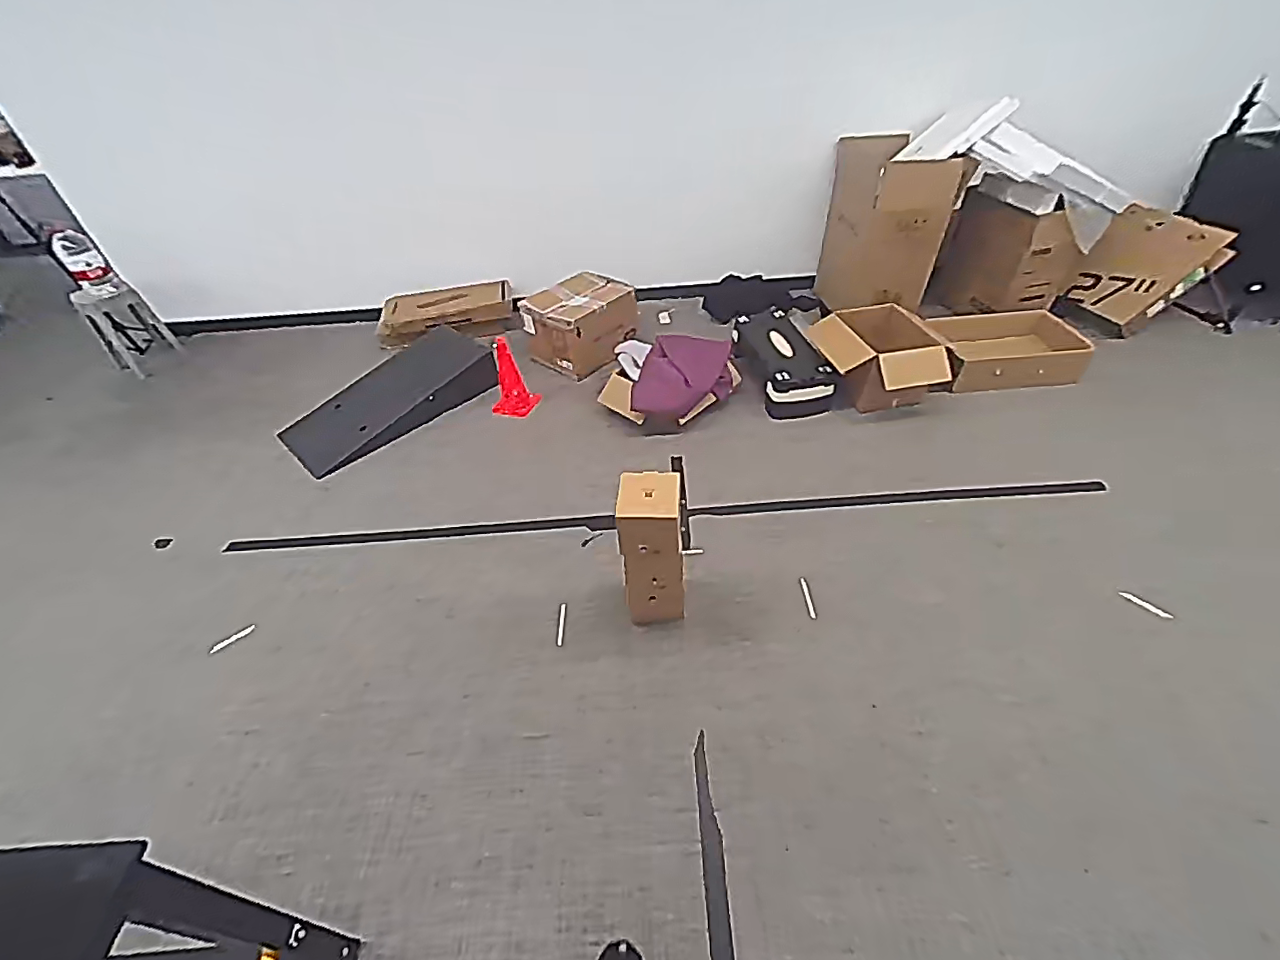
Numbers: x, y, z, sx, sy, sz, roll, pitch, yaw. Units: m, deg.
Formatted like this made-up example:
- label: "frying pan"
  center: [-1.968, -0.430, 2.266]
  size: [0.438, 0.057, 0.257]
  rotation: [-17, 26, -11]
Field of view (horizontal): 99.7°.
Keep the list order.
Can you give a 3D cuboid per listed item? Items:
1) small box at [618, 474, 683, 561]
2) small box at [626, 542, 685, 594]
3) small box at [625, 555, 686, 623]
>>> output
- label: "small box"
  center: [0.034, 0.102, 1.495]
  size: [0.168, 0.176, 0.179]
  rotation: [0, 44, 6]
- label: "small box"
  center: [0.045, 0.217, 1.609]
  size: [0.168, 0.176, 0.179]
  rotation: [-4, 43, 1]
- label: "small box"
  center: [0.049, 0.339, 1.720]
  size: [0.179, 0.176, 0.168]
  rotation: [-6, 42, -2]
